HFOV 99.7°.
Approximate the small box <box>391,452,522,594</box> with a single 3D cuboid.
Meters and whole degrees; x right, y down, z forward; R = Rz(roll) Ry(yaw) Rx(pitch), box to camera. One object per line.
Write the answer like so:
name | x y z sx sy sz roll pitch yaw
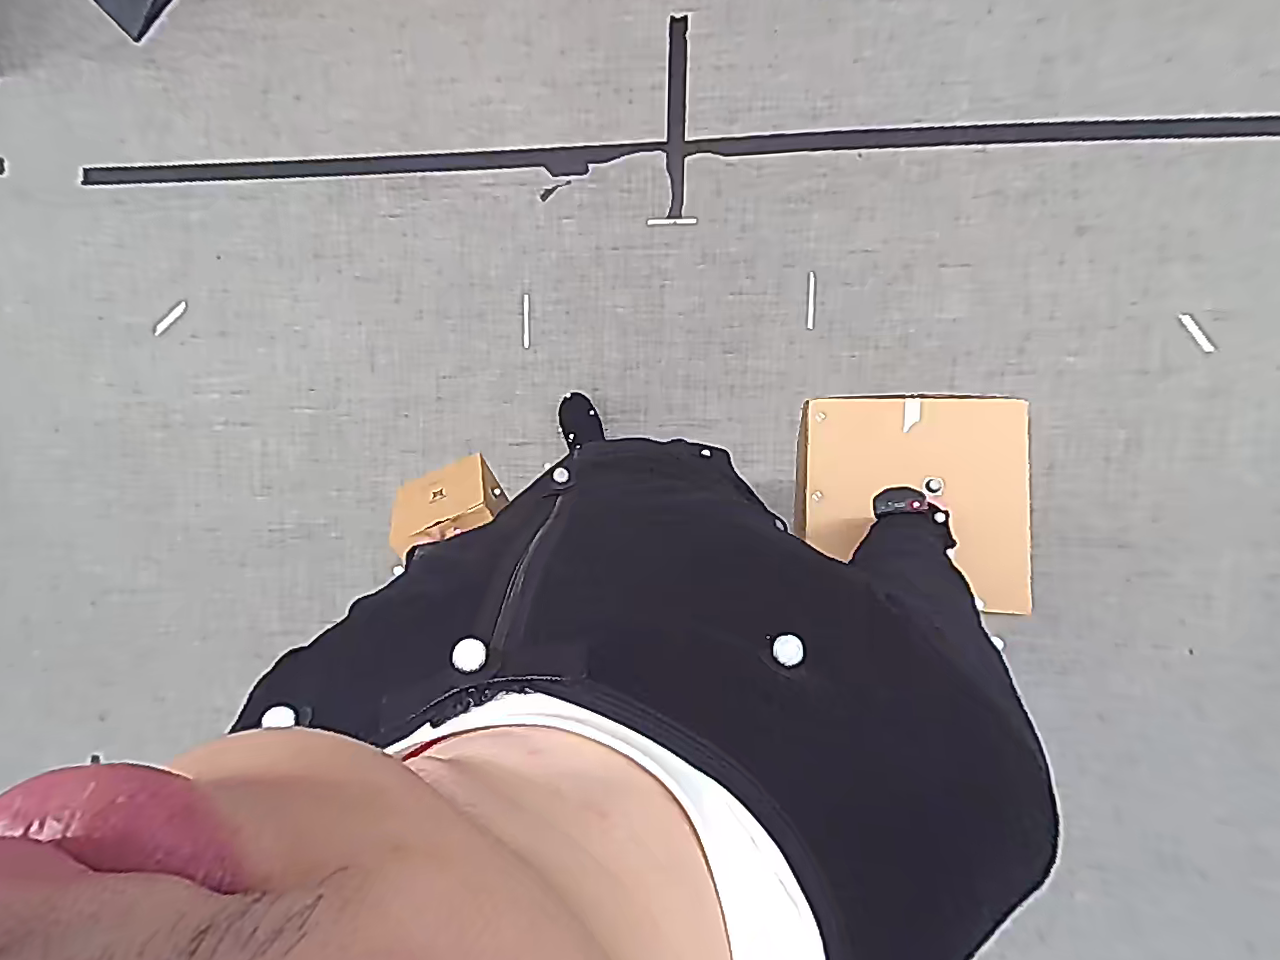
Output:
small box | -0.328 0.085 0.992 0.168 0.179 0.176 -24 126 -3
